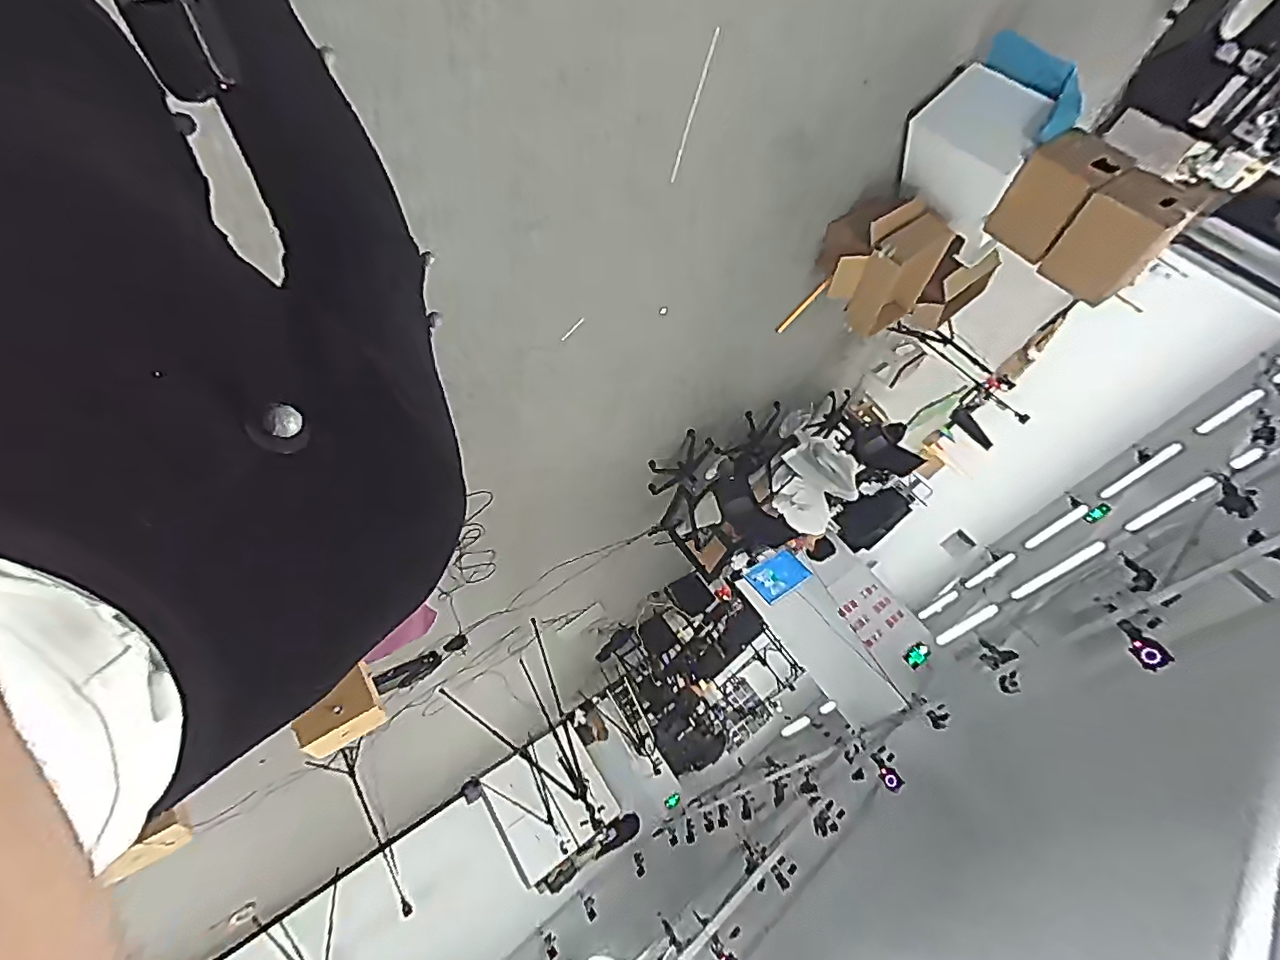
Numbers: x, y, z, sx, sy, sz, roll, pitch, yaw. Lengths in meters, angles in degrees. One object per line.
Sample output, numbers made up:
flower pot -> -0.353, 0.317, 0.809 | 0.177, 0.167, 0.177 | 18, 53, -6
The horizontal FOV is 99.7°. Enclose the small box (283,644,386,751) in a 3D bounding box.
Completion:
small box -> -0.783, 0.554, 1.385 | 0.179, 0.176, 0.168 | -27, 156, -27

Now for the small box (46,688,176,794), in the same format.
small box -> -1.227, 0.618, 1.261 | 0.179, 0.176, 0.168 | -18, 150, -39

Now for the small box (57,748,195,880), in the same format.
small box -> -1.131, 0.733, 1.197 | 0.179, 0.176, 0.168 | -19, 150, -39
